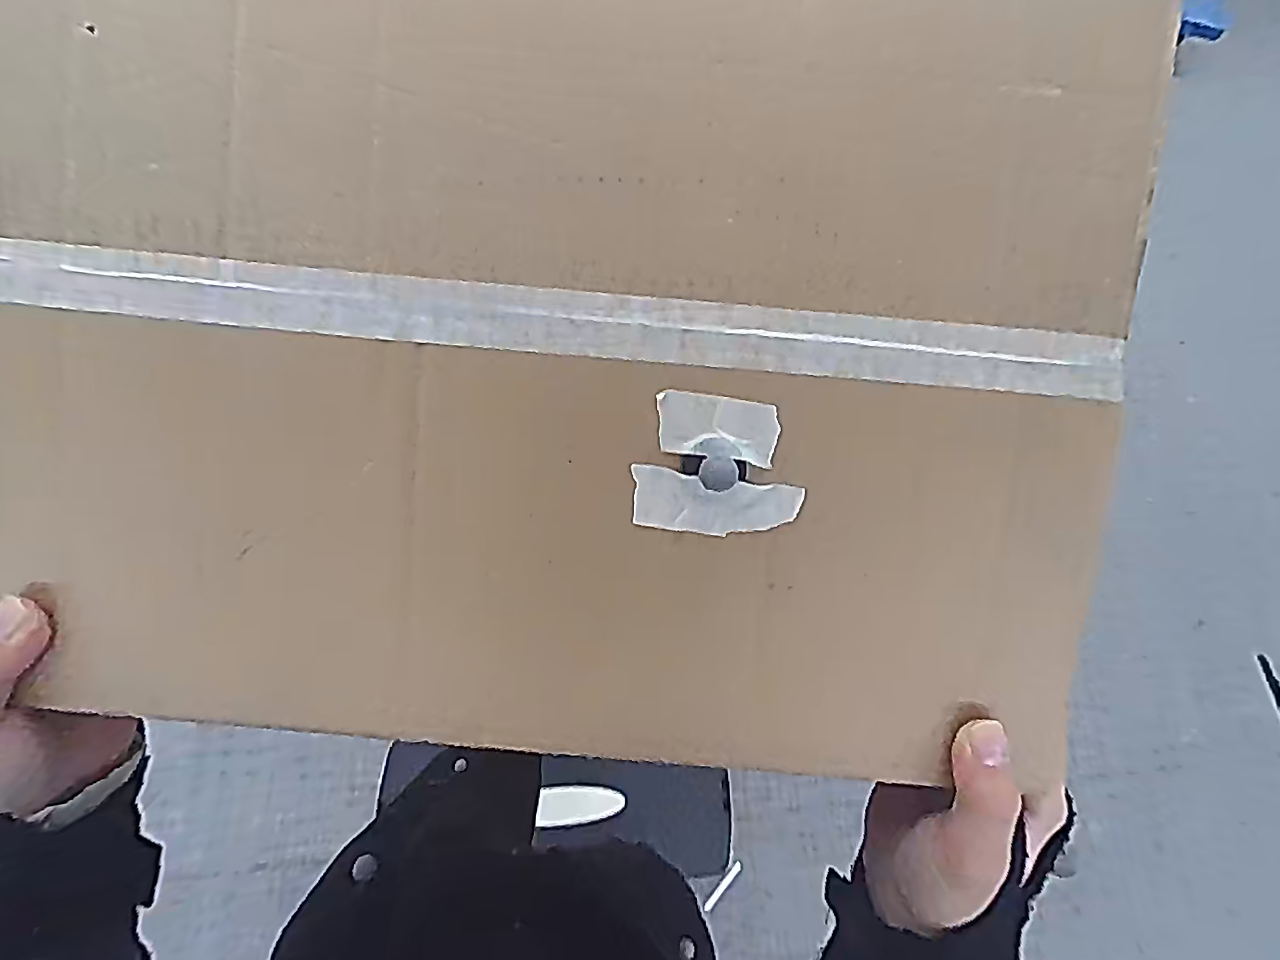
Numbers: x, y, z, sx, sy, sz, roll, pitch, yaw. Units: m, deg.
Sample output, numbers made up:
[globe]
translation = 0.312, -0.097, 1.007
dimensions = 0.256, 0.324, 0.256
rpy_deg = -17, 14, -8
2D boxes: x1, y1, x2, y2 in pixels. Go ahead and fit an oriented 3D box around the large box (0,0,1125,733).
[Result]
[large box]
translation = -0.037, -0.074, 0.348
dimensions = 0.408, 0.320, 0.320
rpy_deg = 5, 96, -1
